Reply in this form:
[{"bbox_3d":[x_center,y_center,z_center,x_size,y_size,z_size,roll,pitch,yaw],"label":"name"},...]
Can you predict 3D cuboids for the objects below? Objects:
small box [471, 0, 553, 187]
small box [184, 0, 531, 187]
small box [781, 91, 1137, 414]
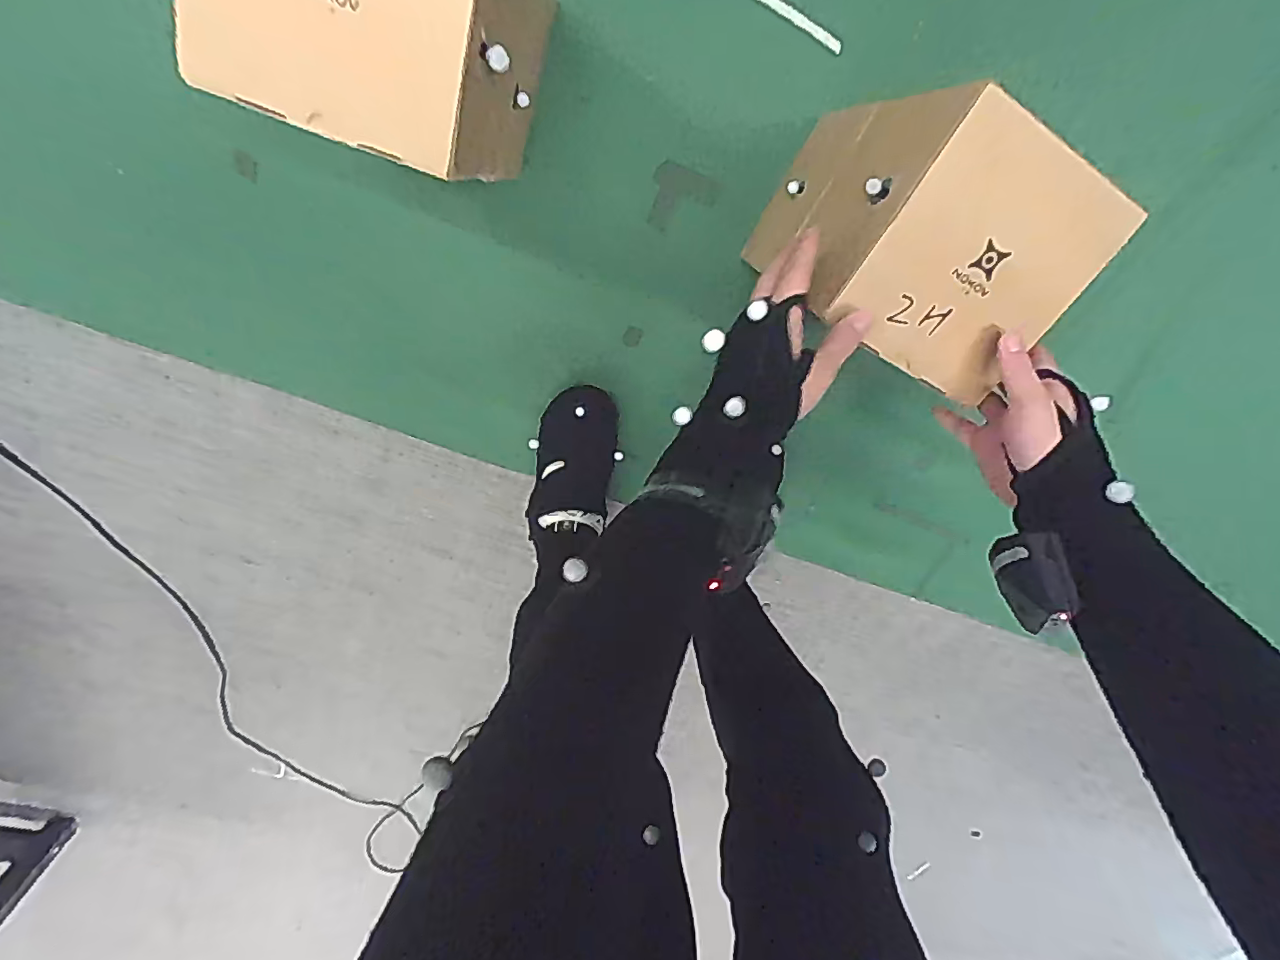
[{"bbox_3d":[-0.190,-0.411,0.527,0.168,0.176,0.179,17,118,-12],"label":"small box"},{"bbox_3d":[-0.180,-0.334,0.384,0.168,0.176,0.179,16,119,-11],"label":"small box"},{"bbox_3d":[0.249,-0.195,0.476,0.168,0.176,0.179,26,117,-15],"label":"small box"}]
